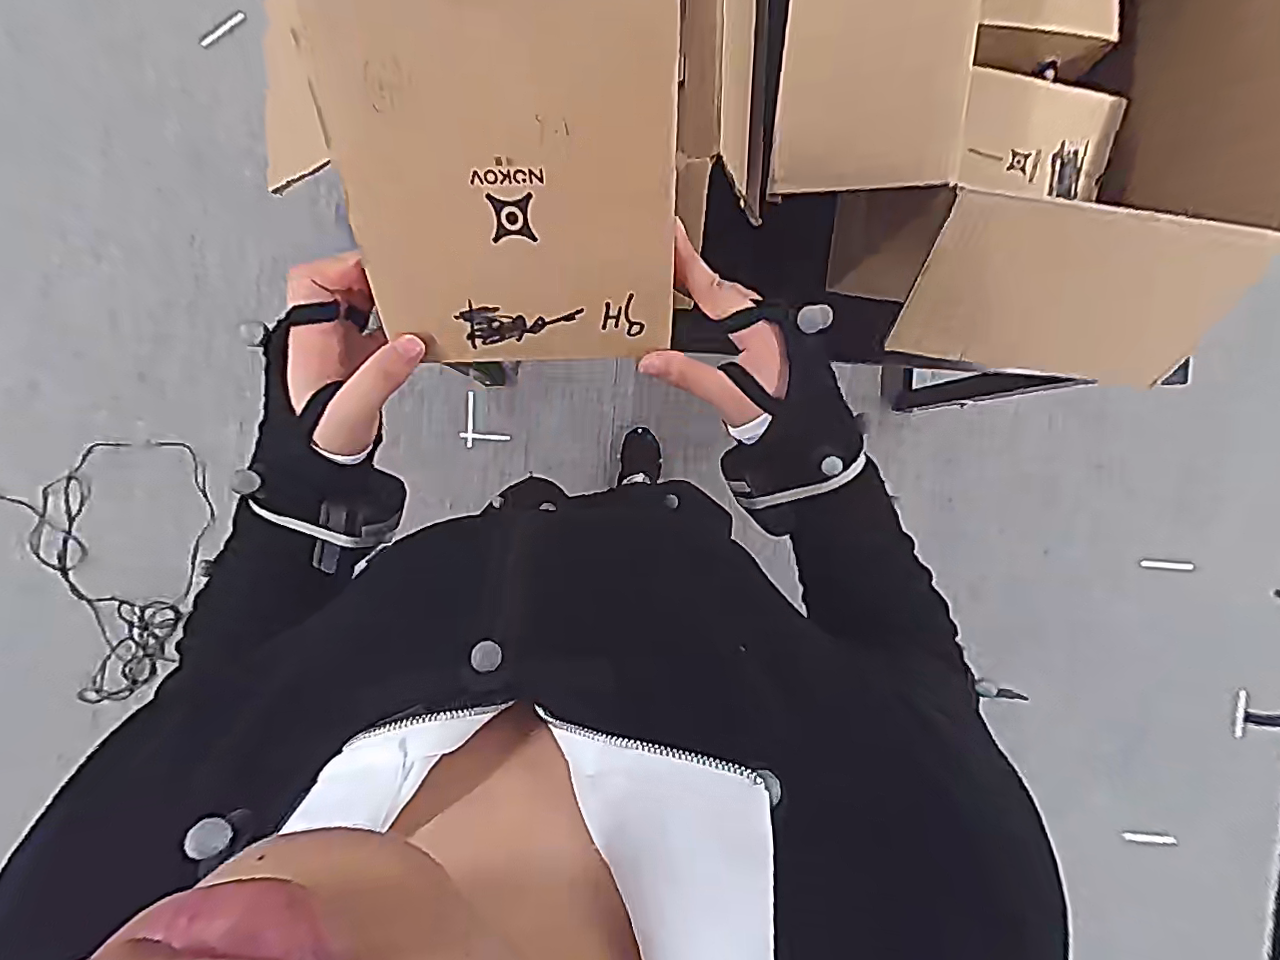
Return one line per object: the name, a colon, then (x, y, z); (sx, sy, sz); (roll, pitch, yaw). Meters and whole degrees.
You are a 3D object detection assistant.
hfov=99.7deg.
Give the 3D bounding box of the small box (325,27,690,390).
small box: (-0.063, -0.176, 0.354); (0.168, 0.176, 0.179); (-2, 128, -2)
